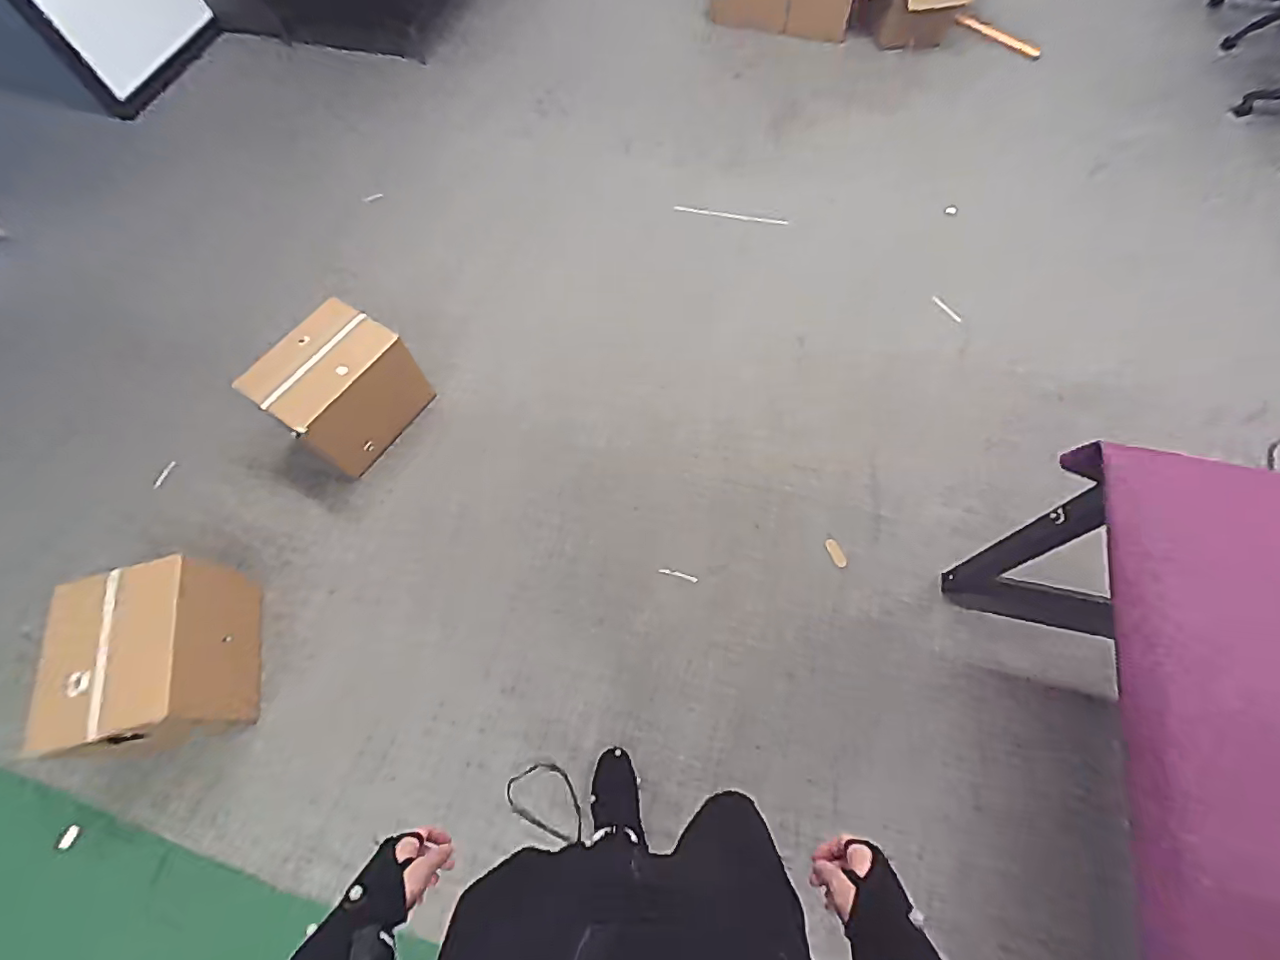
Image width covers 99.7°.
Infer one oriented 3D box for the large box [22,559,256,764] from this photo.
[{"bbox_3d":[-1.250,0.468,1.402,0.320,0.320,0.408,-16,66,-5],"label":"large box"}]
